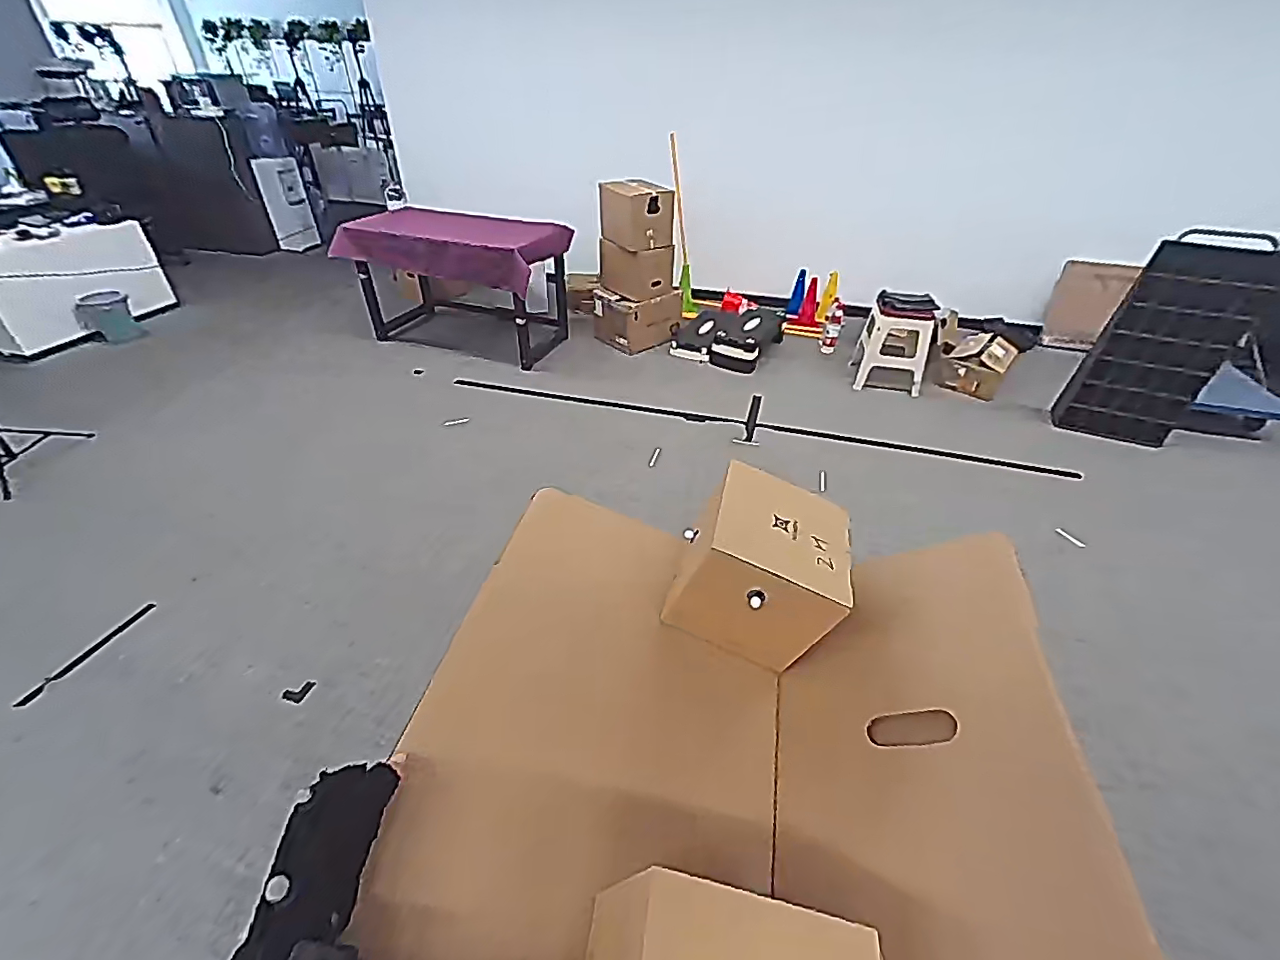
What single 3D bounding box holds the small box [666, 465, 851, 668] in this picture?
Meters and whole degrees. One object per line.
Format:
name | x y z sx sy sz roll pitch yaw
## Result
small box | 0.152 0.118 0.712 0.179 0.176 0.168 25 43 -1
